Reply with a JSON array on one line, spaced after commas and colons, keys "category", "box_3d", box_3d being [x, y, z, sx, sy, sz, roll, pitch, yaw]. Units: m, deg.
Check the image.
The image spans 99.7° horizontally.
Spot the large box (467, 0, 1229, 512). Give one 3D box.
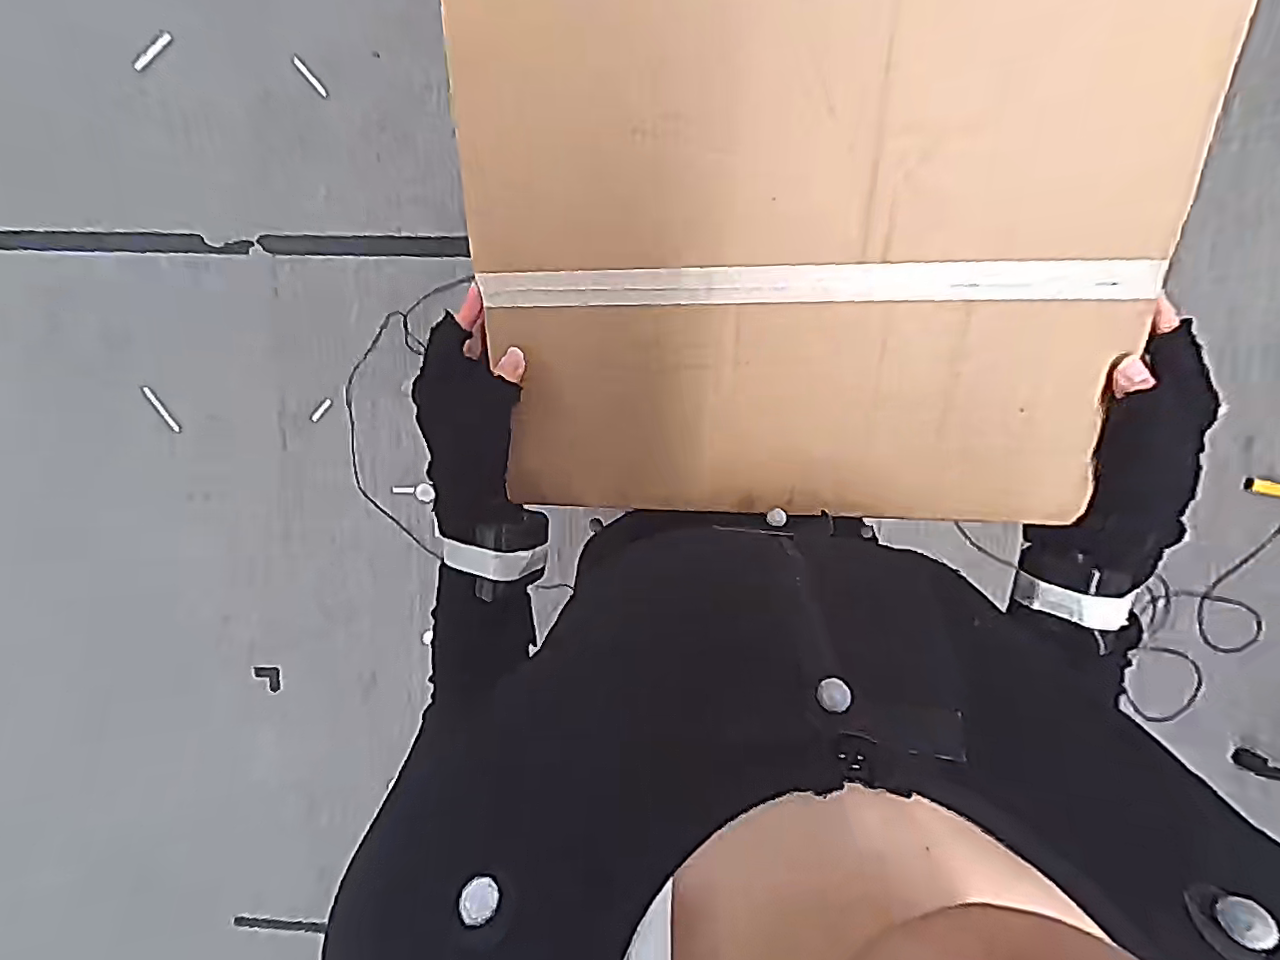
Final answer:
[{"category": "large box", "box_3d": [0.116, -0.179, 0.478, 0.408, 0.320, 0.320, 2, 114, 7]}]
